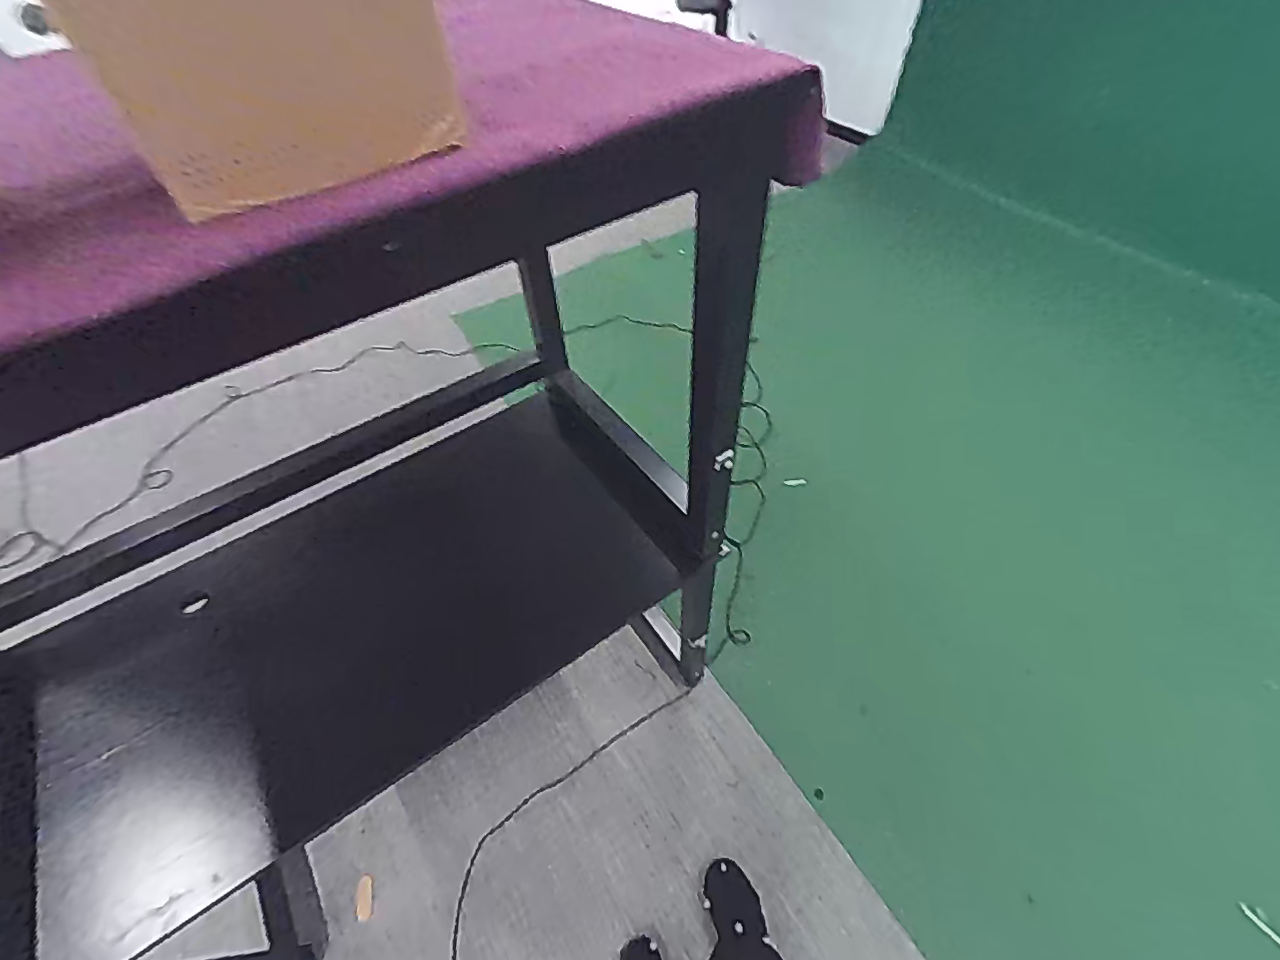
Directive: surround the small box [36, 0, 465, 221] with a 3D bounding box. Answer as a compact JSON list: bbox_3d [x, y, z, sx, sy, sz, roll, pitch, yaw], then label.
[{"bbox_3d":[-0.232,-0.281,0.317,0.179,0.176,0.168,-29,57,-18],"label":"small box"}]
